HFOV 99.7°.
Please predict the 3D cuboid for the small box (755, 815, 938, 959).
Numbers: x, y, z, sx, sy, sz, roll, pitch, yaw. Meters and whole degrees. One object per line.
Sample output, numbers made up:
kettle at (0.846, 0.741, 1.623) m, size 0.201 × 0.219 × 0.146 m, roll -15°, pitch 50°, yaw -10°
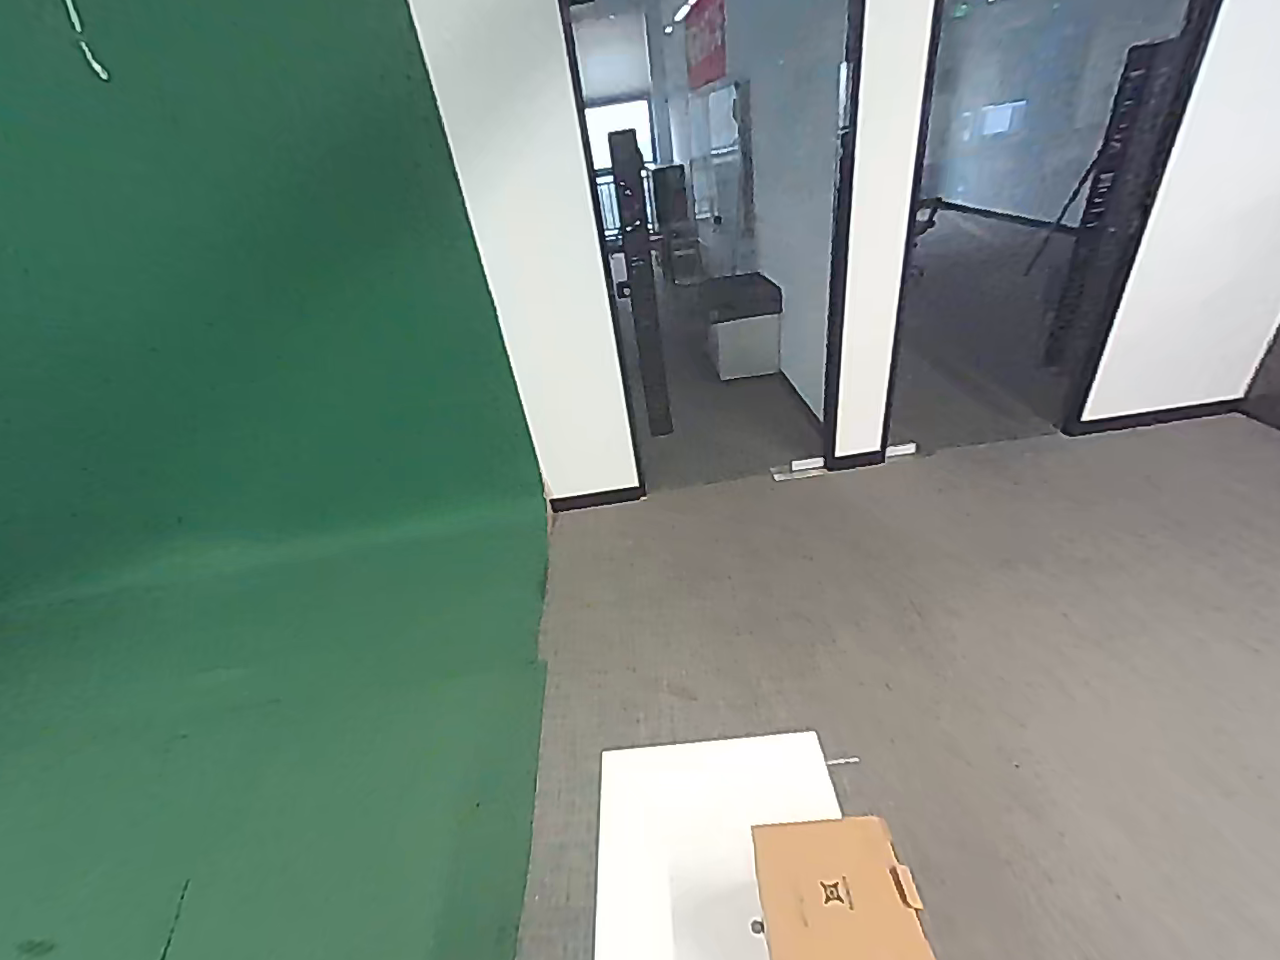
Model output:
small box at (0.250, 0.562, 0.692) m, size 0.179 × 0.176 × 0.168 m, roll -8°, pitch 31°, yaw 5°
